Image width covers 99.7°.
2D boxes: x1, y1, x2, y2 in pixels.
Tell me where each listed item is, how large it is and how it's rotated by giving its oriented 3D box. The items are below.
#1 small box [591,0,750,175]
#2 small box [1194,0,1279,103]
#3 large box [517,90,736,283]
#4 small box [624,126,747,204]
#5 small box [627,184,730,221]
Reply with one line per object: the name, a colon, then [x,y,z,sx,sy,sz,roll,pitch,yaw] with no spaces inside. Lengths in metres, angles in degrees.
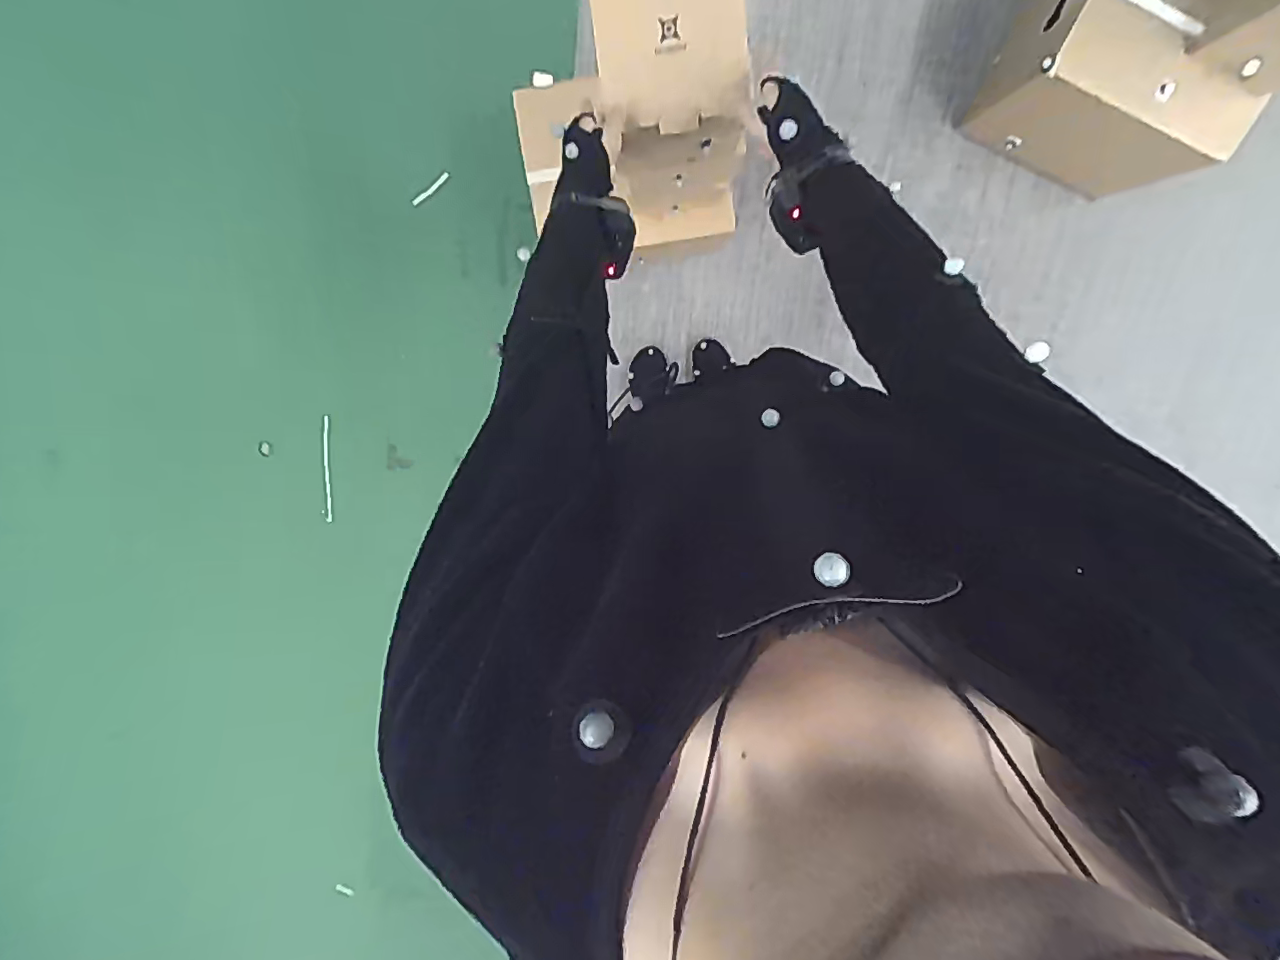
small box: [0.038,-0.493,0.661,0.168,0.176,0.179,-6,104,4]
small box: [1.099,-0.778,0.892,0.168,0.176,0.179,24,103,-4]
large box: [-0.015,-0.646,1.215,0.408,0.320,0.320,-7,103,5]
small box: [0.057,-0.535,0.818,0.179,0.176,0.168,-7,104,5]
small box: [0.063,-0.578,0.976,0.179,0.176,0.168,-3,104,3]
